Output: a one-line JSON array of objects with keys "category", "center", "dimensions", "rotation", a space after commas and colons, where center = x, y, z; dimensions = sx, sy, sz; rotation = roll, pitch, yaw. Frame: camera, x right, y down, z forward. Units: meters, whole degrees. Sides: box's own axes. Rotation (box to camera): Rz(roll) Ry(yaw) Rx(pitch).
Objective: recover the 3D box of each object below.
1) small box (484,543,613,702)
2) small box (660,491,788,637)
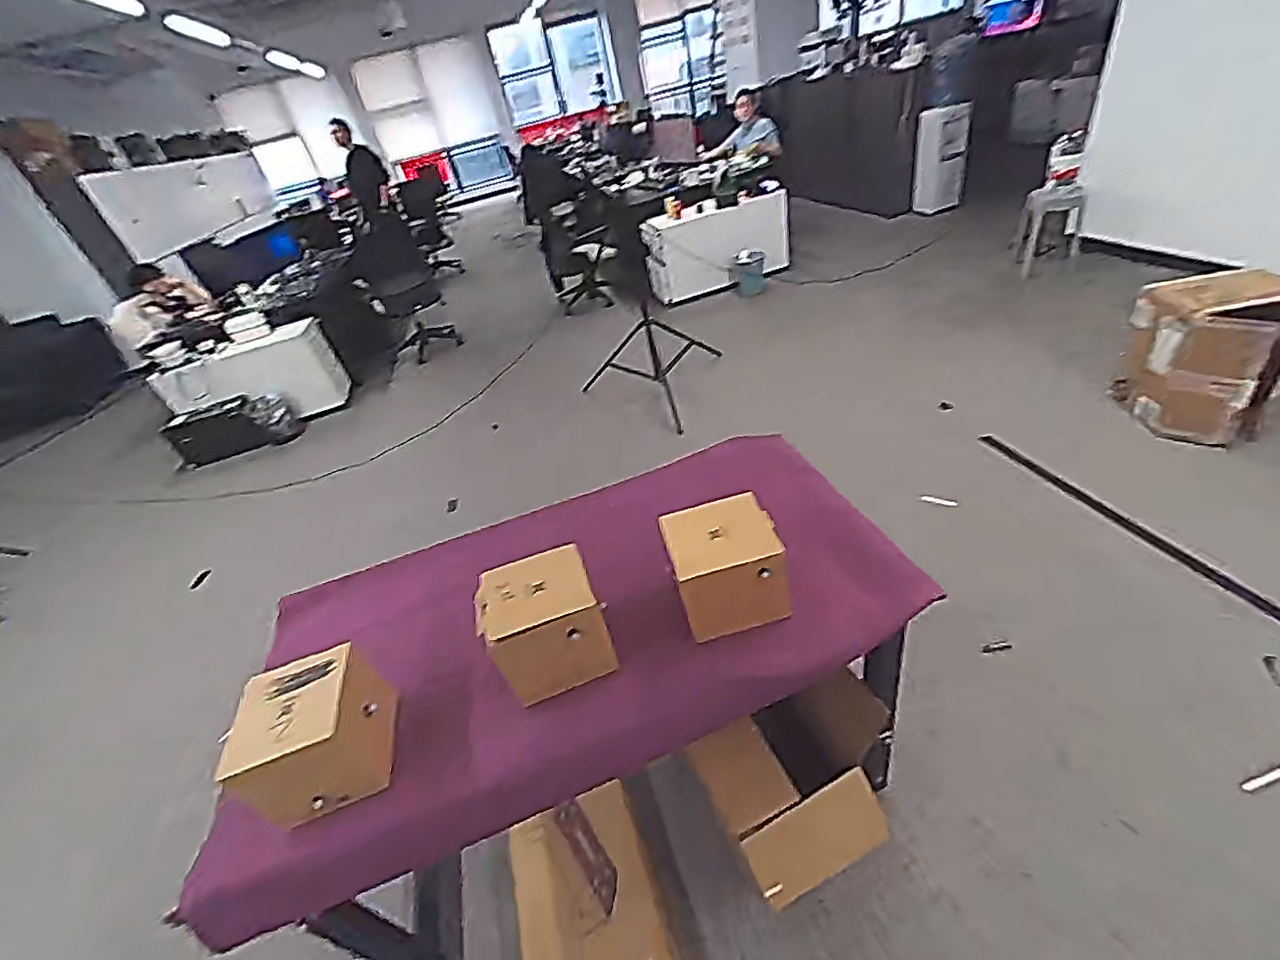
[{"category": "small box", "center": [-0.154, 0.246, 0.938], "dimensions": [0.179, 0.176, 0.168], "rotation": [-20, 34, -7]}, {"category": "small box", "center": [0.150, 0.152, 0.959], "dimensions": [0.179, 0.176, 0.168], "rotation": [-16, 36, -2]}]
